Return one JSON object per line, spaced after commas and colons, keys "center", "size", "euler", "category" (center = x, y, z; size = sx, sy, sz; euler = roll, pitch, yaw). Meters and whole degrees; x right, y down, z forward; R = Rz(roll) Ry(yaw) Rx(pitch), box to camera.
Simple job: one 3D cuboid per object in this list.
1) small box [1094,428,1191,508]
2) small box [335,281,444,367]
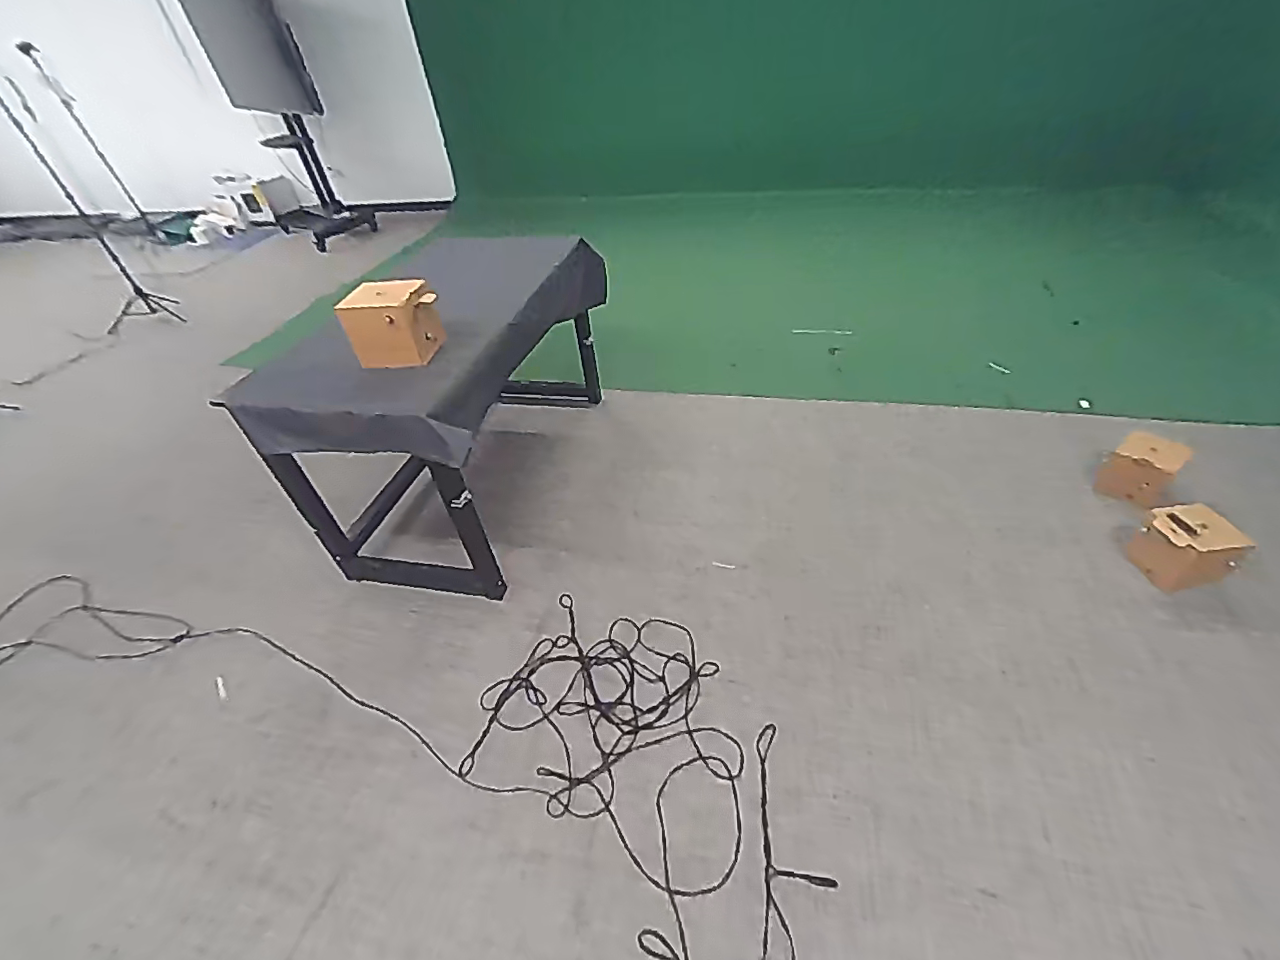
{"center": [1.664, -0.038, 1.800], "size": [0.179, 0.176, 0.168], "euler": [-32, 48, -28], "category": "small box"}
{"center": [-0.641, -0.404, 1.409], "size": [0.179, 0.176, 0.168], "euler": [-1, 41, 6], "category": "small box"}
